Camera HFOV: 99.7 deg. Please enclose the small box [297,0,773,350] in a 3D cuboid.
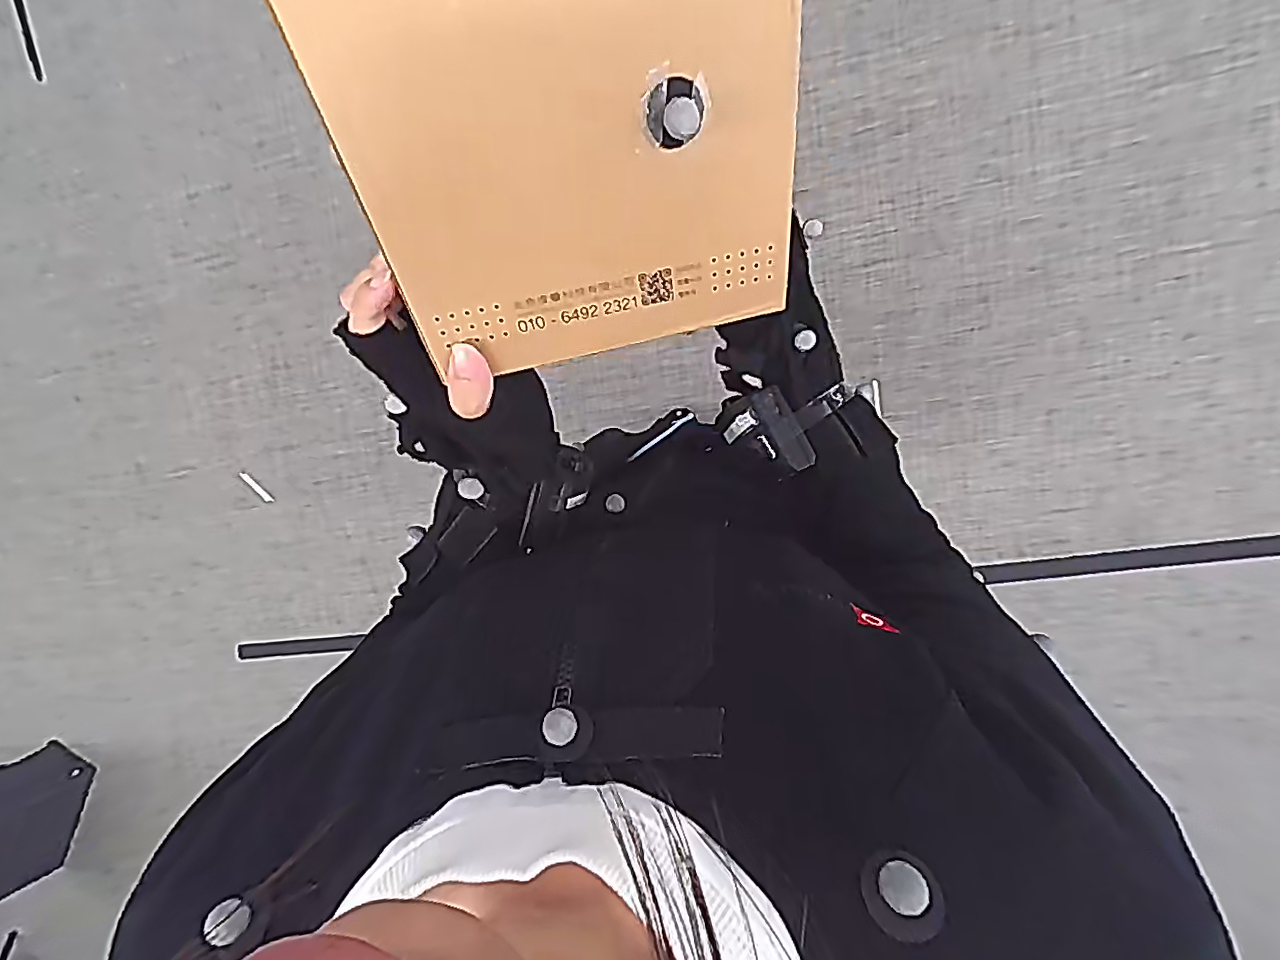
[{"bbox_3d":[-0.035,-0.181,0.278,0.168,0.179,0.176,-13,134,-3],"label":"small box"}]
